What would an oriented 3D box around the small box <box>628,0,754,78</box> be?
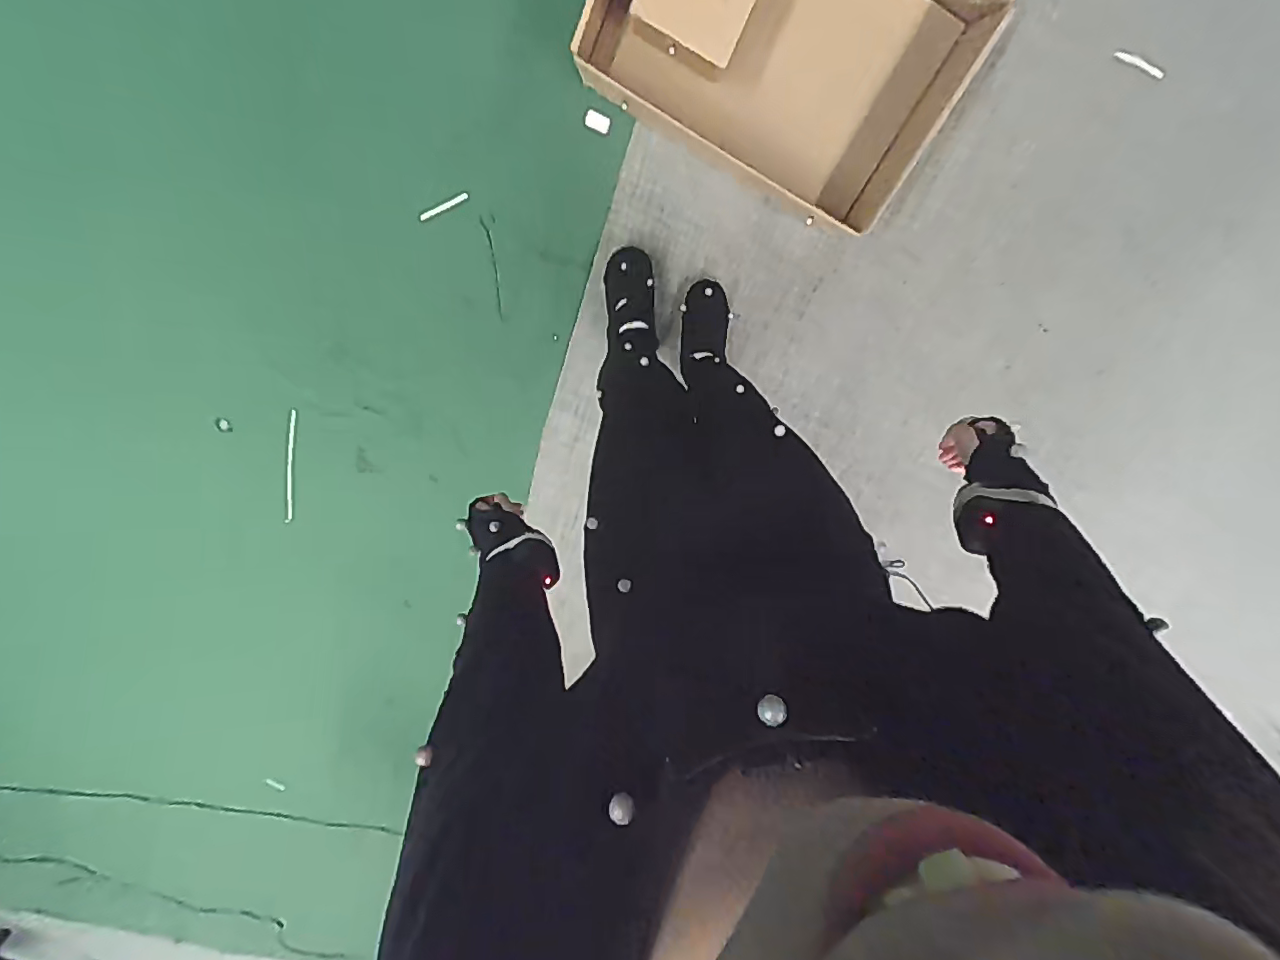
[{"bbox_3d":[0.094,-0.806,0.899,0.179,0.176,0.168,24,118,-12],"label":"small box"}]
